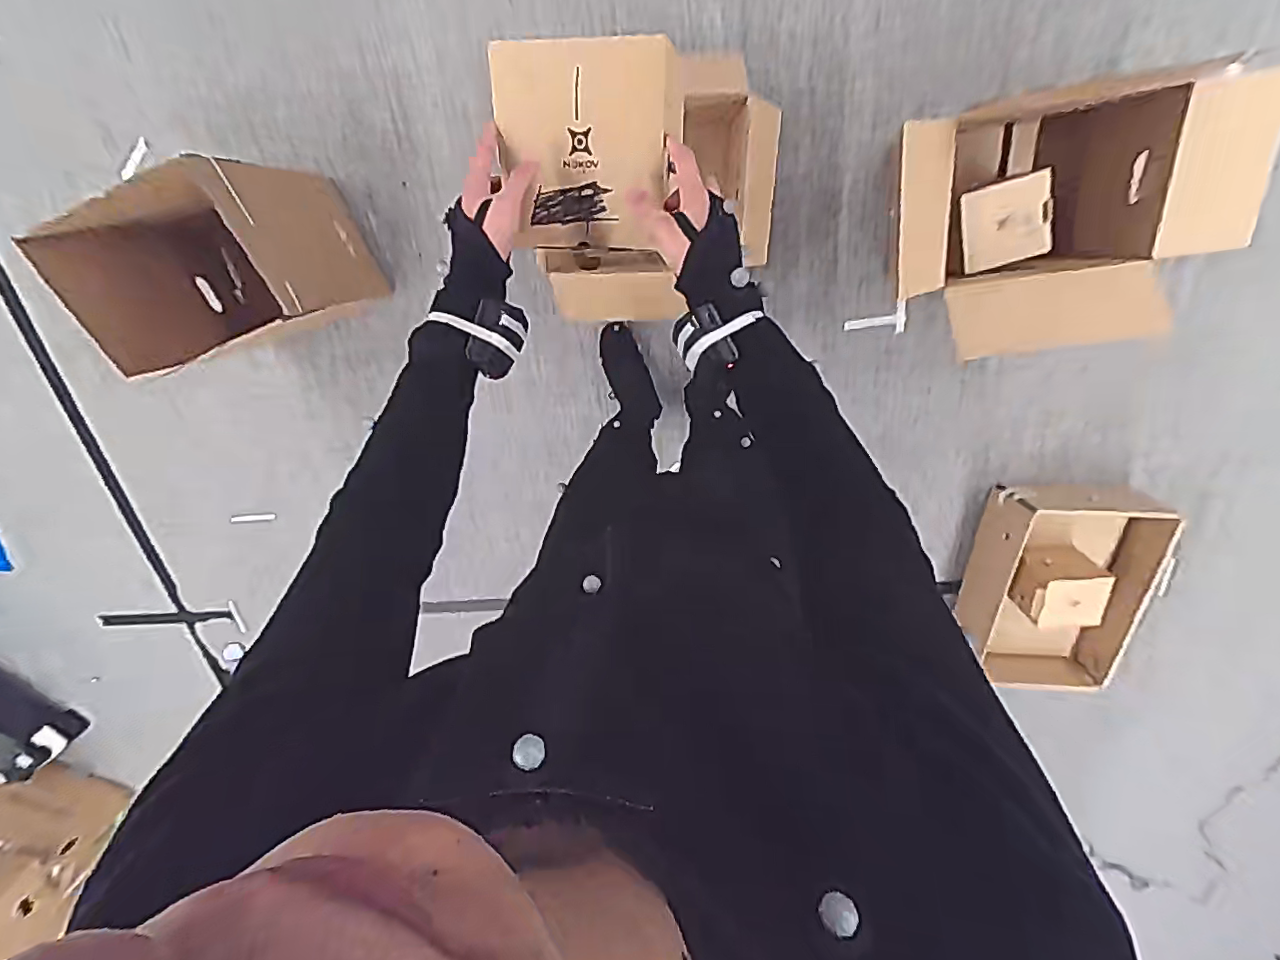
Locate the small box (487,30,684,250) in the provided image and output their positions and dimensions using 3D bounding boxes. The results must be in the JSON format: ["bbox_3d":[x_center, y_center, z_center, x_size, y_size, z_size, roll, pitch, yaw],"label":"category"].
[{"bbox_3d":[-0.043,-0.353,0.580,0.168,0.176,0.179,5,120,8],"label":"small box"}]

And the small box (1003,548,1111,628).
[{"bbox_3d":[1.206,0.312,1.580,0.179,0.176,0.168,-3,115,4],"label":"small box"}]
